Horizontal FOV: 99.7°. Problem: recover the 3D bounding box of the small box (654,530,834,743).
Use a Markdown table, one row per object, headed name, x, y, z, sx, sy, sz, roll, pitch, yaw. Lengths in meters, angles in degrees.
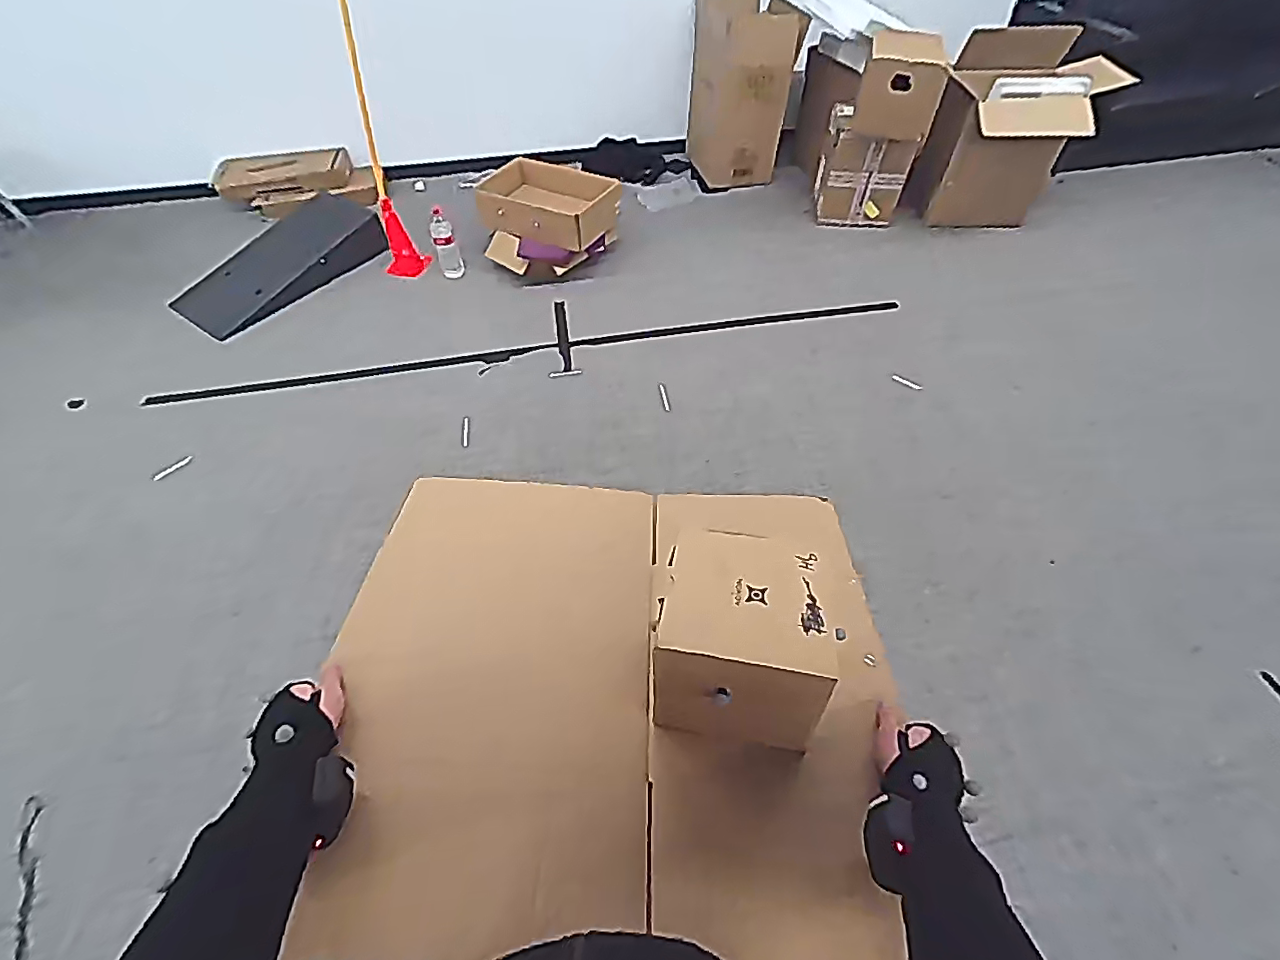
| name | x | y | z | sx | sy | sz | roll | pitch | yaw |
| --- | --- | --- | --- | --- | --- | --- | --- | --- | --- |
| small box | 0.118 | 0.182 | 0.631 | 0.179 | 0.176 | 0.168 | 6 | 43 | 10 |
